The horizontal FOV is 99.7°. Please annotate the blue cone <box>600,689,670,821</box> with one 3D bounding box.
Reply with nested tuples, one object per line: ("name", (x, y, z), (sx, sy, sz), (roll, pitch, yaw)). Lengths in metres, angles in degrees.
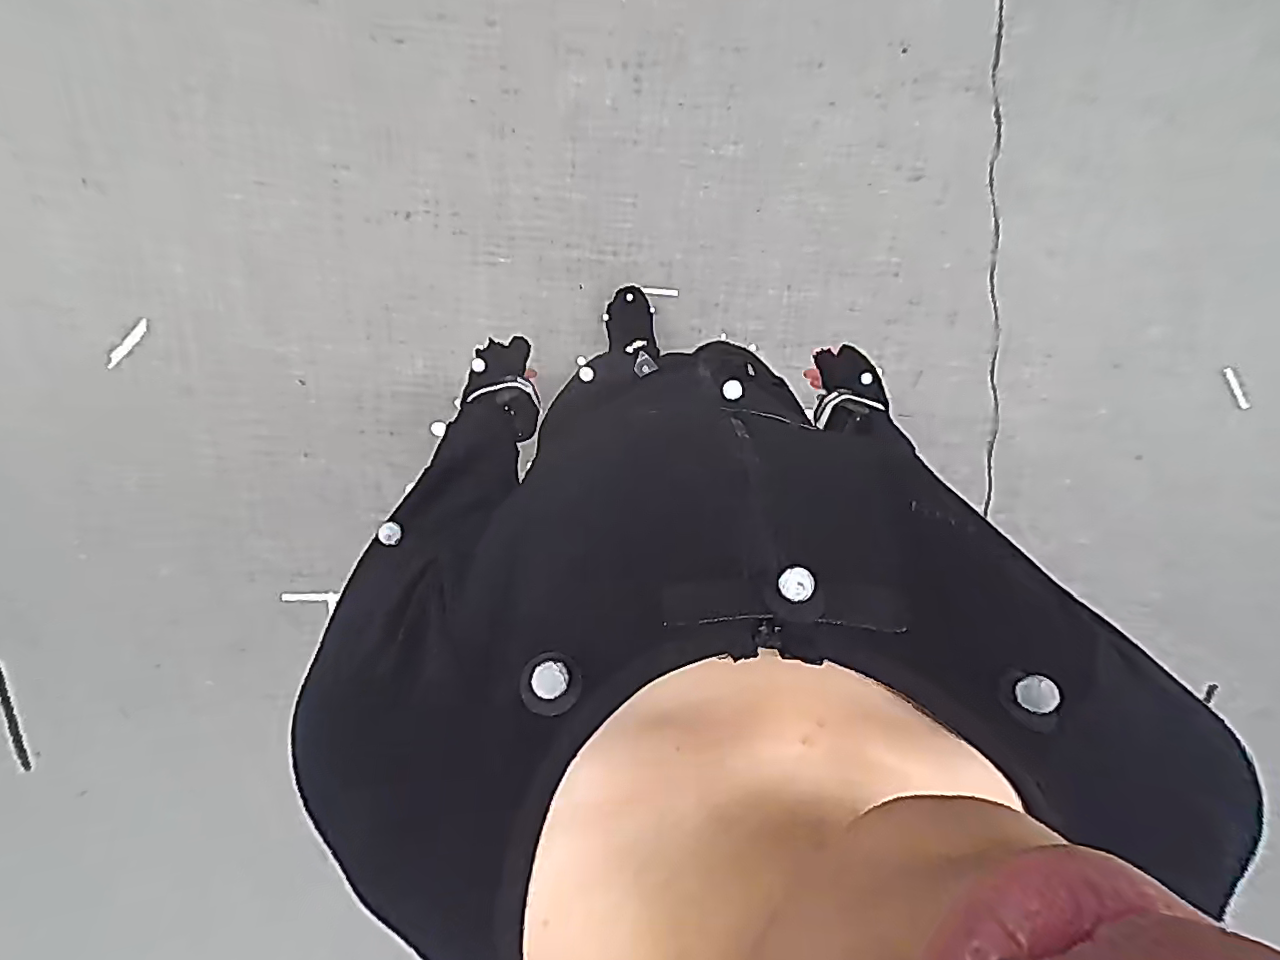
("blue cone", (-0.012, 0.781, 1.509), (0.192, 0.380, 0.193), (19, 103, -6))
